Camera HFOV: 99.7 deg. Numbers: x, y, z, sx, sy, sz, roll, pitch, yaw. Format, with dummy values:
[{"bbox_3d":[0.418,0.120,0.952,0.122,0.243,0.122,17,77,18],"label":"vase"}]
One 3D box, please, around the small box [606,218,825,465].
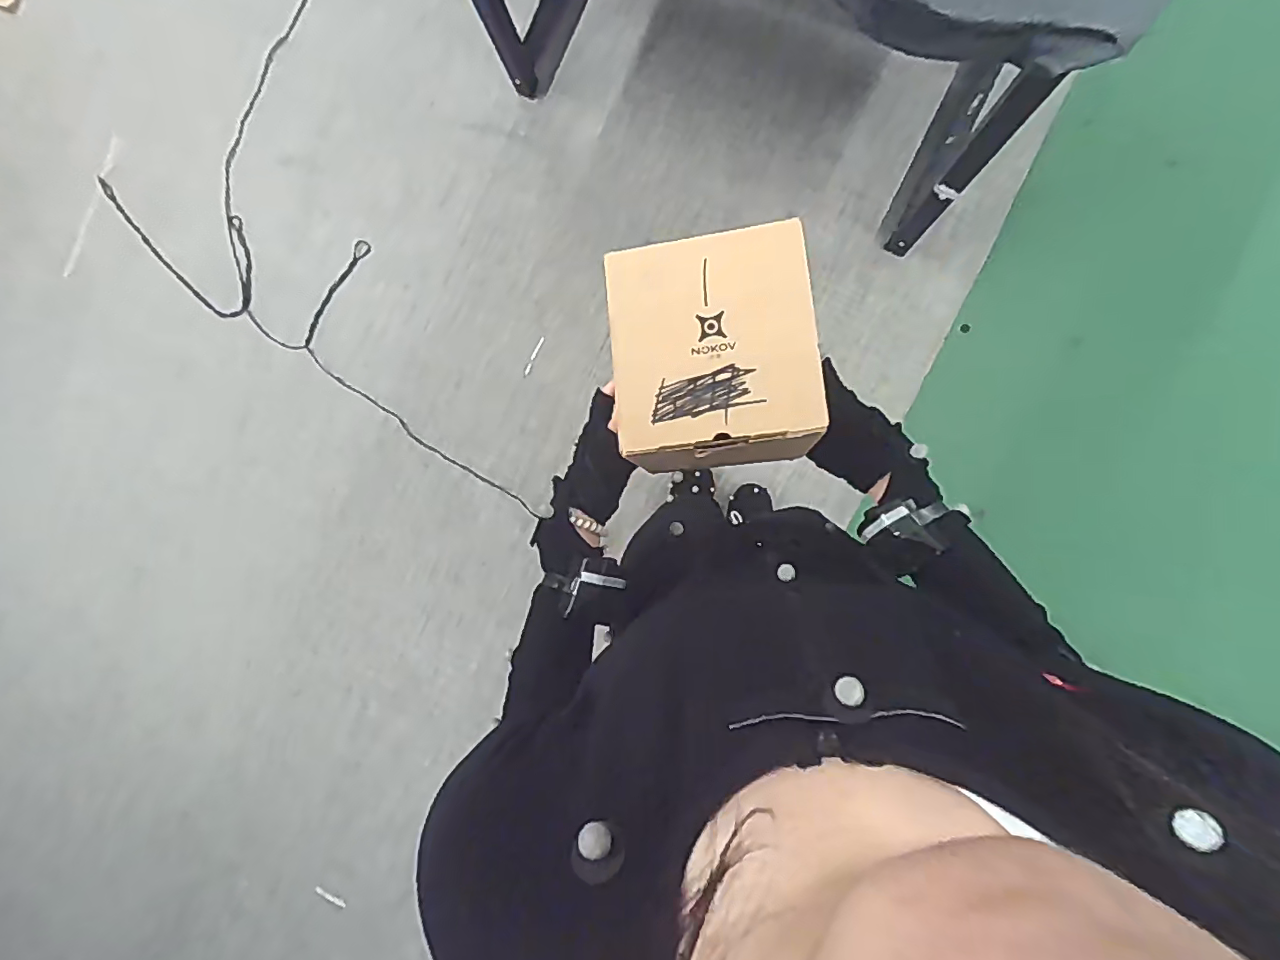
[{"bbox_3d":[0.071,-0.111,0.515,0.168,0.176,0.179,-6,84,9],"label":"small box"}]
